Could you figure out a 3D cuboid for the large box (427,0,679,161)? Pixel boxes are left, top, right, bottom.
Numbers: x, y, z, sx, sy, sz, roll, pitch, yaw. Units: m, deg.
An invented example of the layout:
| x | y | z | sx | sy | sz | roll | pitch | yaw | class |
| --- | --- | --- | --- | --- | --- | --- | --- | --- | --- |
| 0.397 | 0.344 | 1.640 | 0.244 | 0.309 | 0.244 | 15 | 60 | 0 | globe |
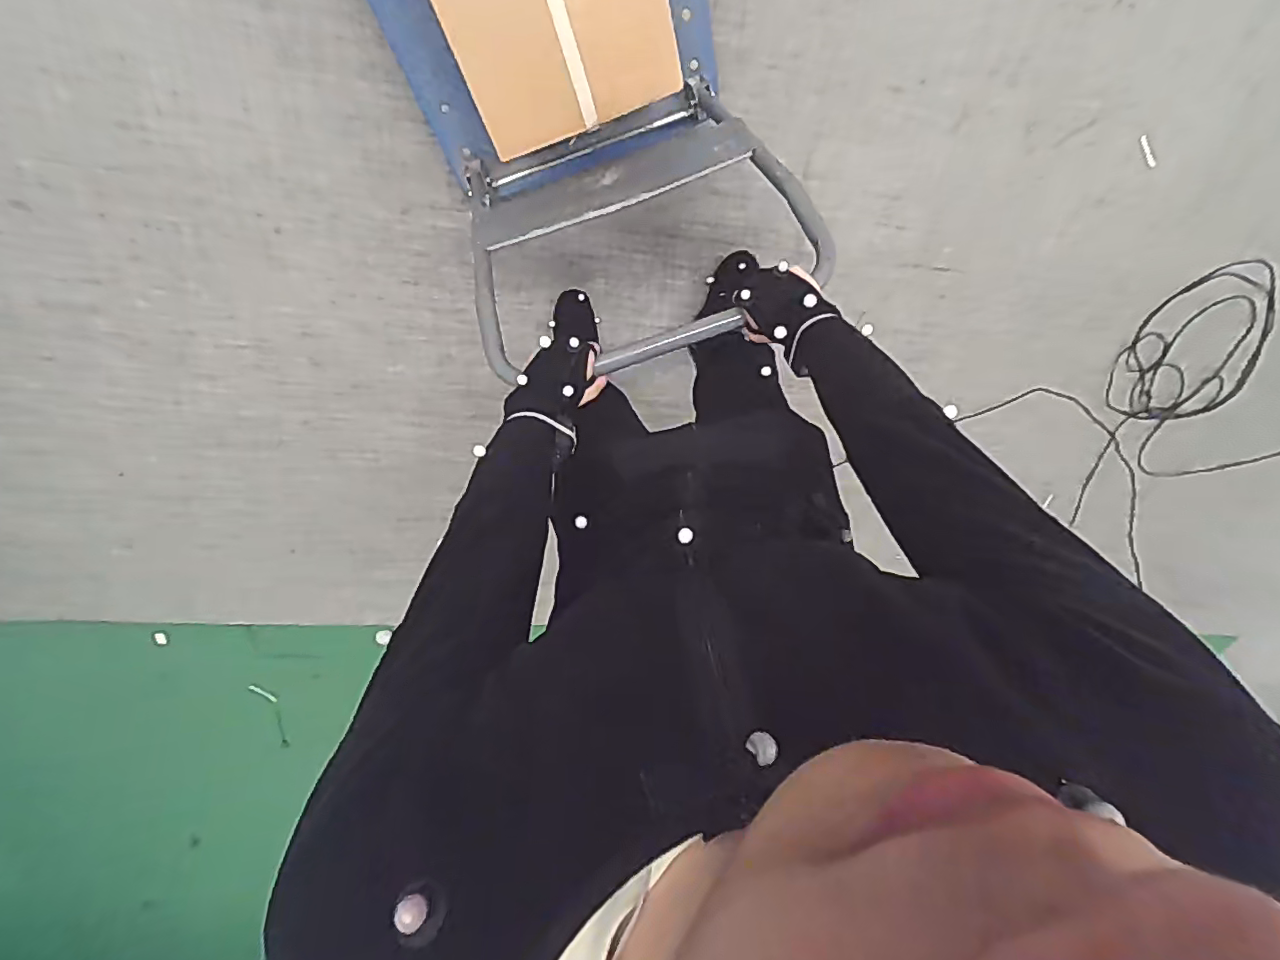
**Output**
| x | y | z | sx | sy | sz | roll | pitch | yaw | class |
| --- | --- | --- | --- | --- | --- | --- | --- | --- | --- |
| -0.164 | -0.793 | 0.821 | 0.320 | 0.320 | 0.408 | -20 | 137 | 5 | large box |
